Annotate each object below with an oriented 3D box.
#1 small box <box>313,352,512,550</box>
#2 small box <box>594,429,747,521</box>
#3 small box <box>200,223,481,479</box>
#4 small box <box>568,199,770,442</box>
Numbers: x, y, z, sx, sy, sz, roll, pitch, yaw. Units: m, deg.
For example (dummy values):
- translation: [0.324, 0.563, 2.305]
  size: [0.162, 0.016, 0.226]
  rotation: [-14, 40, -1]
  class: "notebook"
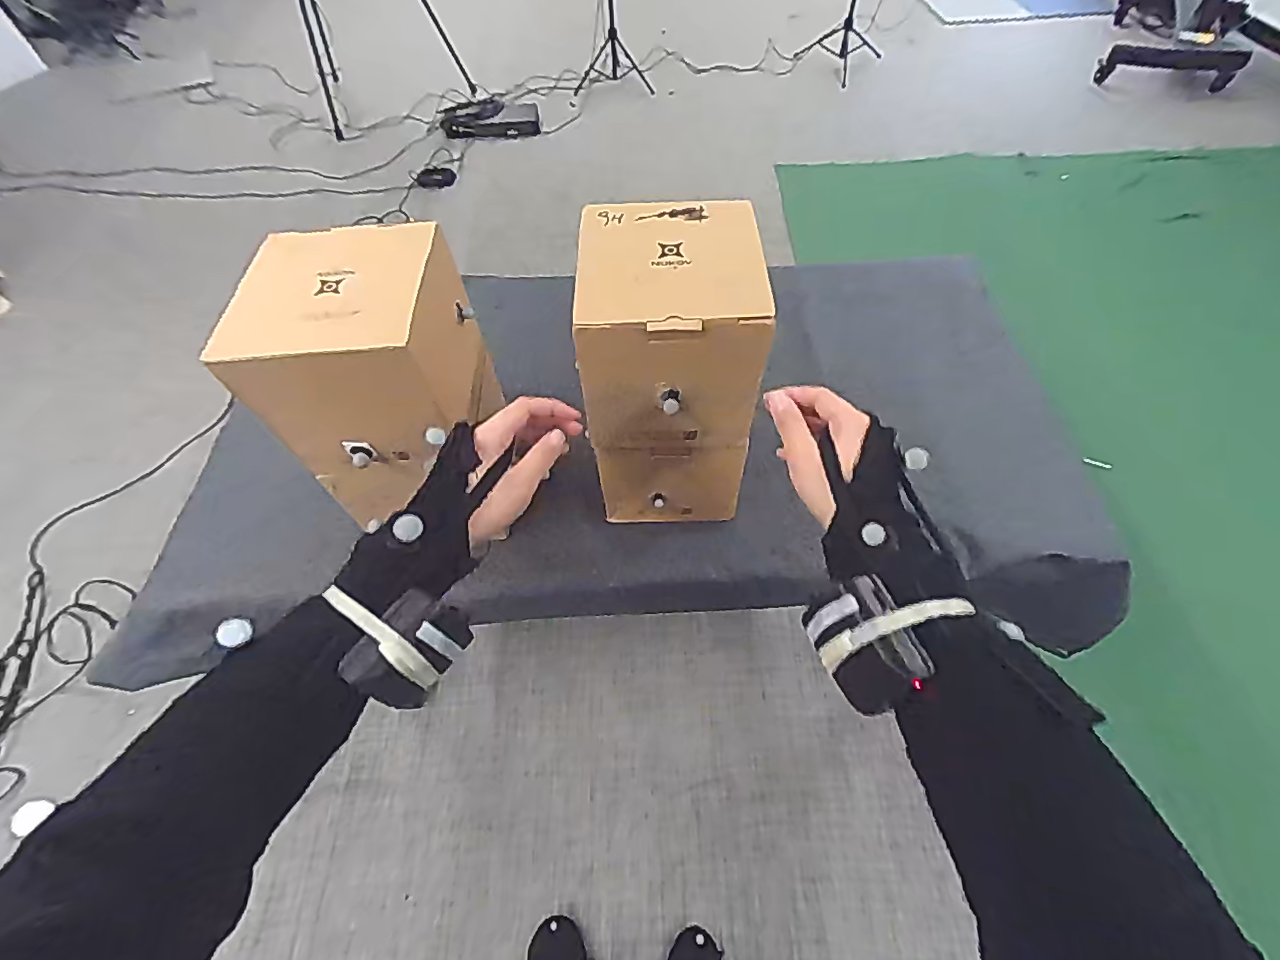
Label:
- translation: [-0.259, -0.032, 0.667]
  size: [0.168, 0.176, 0.179]
  rotation: [-5, 57, -1]
  class: "small box"
- translation: [0.033, -0.064, 0.680]
  size: [0.168, 0.176, 0.179]
  rotation: [-2, 57, 1]
  class: "small box"
- translation: [-0.264, -0.122, 0.532]
  size: [0.168, 0.176, 0.179]
  rotation: [-5, 57, 0]
  class: "small box"
- translation: [0.026, -0.149, 0.541]
  size: [0.168, 0.176, 0.179]
  rotation: [-2, 58, 1]
  class: "small box"
